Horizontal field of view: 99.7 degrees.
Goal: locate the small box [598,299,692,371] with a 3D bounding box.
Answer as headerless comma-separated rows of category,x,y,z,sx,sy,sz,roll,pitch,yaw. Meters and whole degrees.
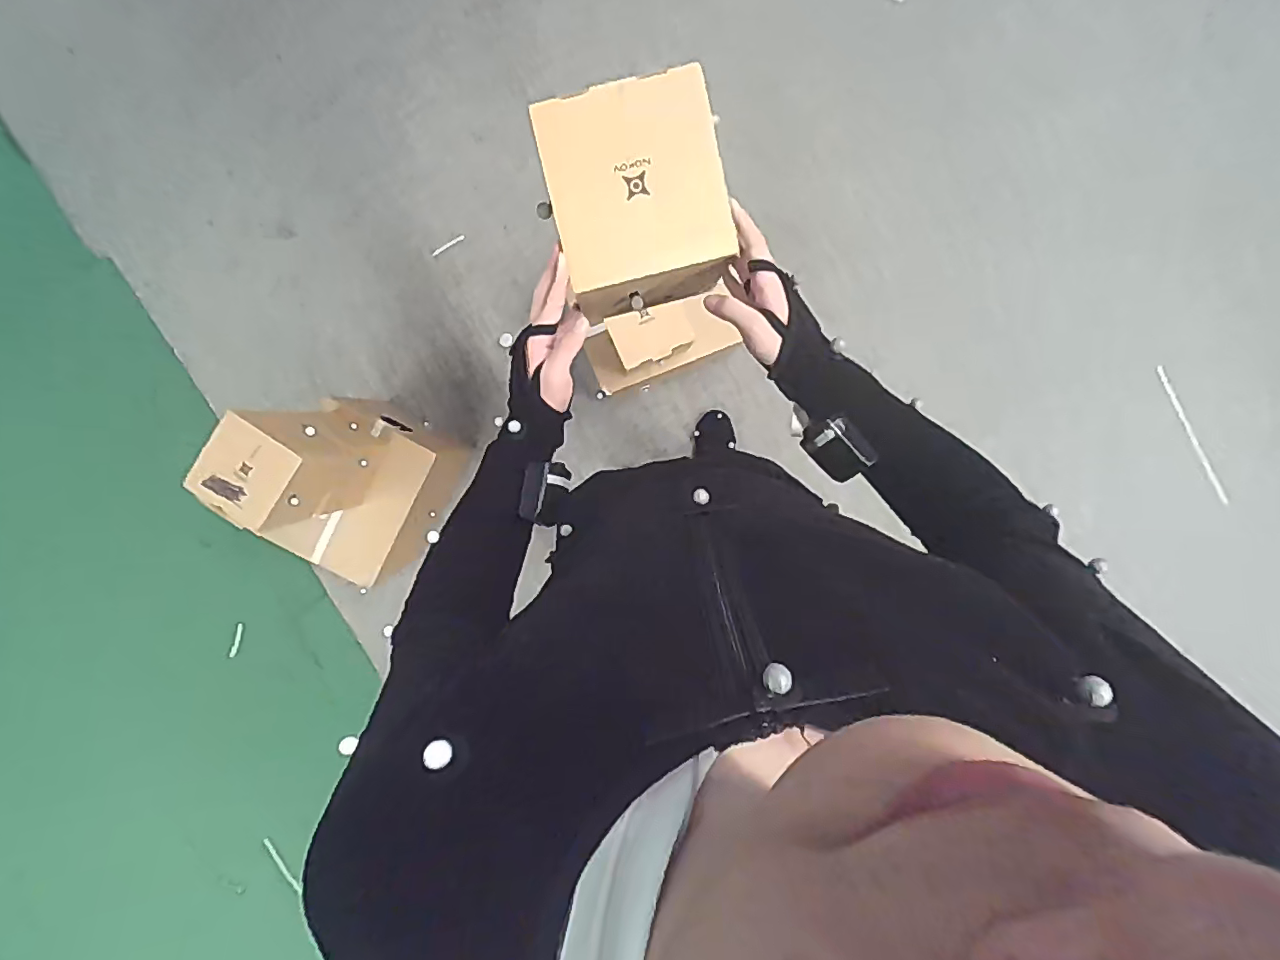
small box,0.004,-0.352,1.206,0.168,0.176,0.179,-24,97,2

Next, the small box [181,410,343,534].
small box,-0.738,-0.021,1.078,0.168,0.176,0.179,34,95,-3

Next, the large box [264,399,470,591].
large box,-0.727,0.022,1.495,0.320,0.320,0.408,27,96,-1

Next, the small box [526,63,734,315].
small box,-0.007,-0.287,0.582,0.168,0.176,0.179,-14,96,1
